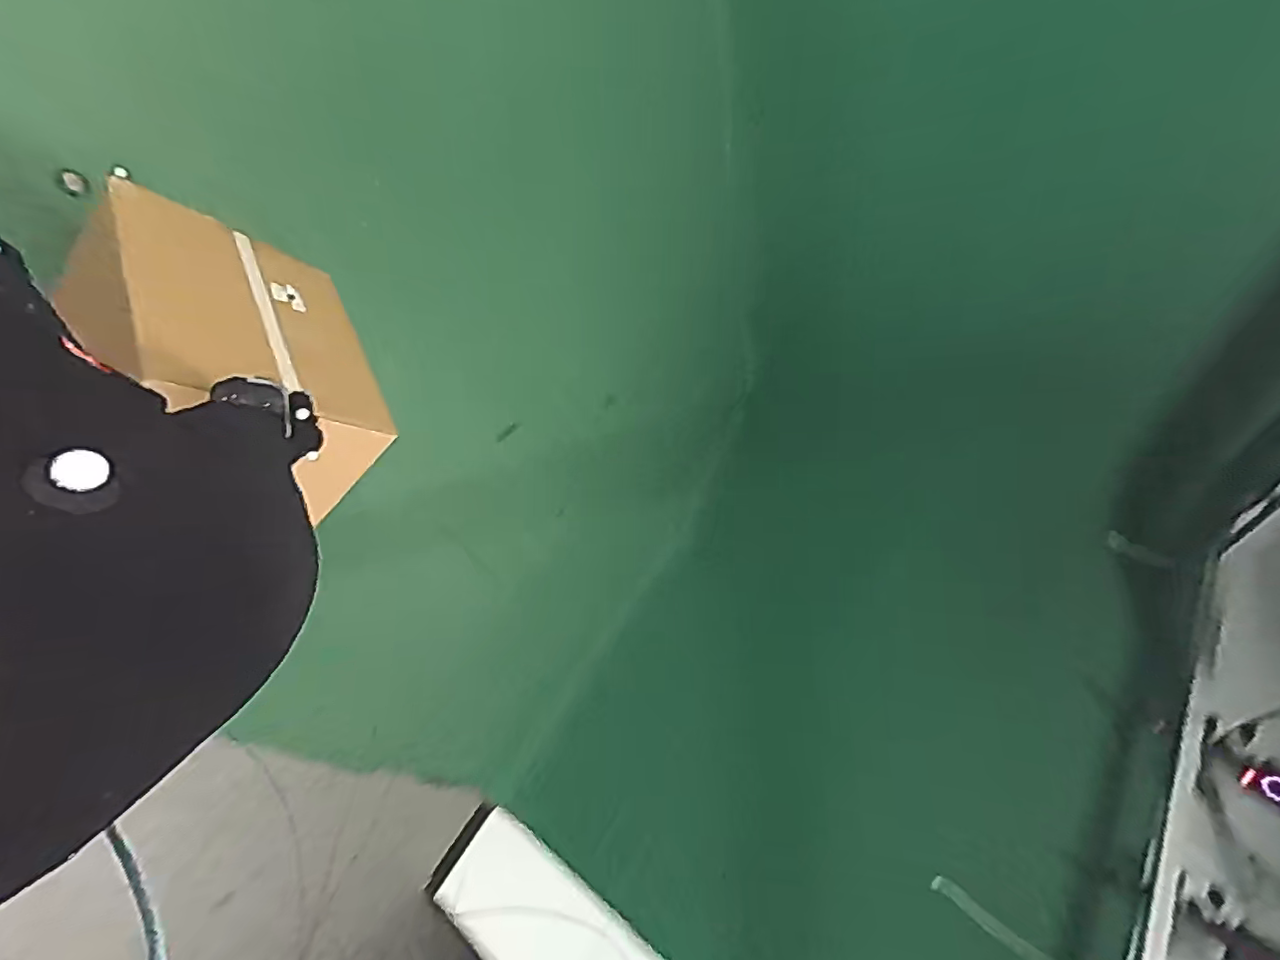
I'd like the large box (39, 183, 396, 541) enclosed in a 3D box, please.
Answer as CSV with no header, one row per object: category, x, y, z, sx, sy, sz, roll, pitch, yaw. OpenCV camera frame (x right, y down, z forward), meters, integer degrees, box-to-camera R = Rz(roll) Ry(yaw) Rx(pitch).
large box,-0.666,-0.151,0.852,0.320,0.408,0.320,-41,156,18
